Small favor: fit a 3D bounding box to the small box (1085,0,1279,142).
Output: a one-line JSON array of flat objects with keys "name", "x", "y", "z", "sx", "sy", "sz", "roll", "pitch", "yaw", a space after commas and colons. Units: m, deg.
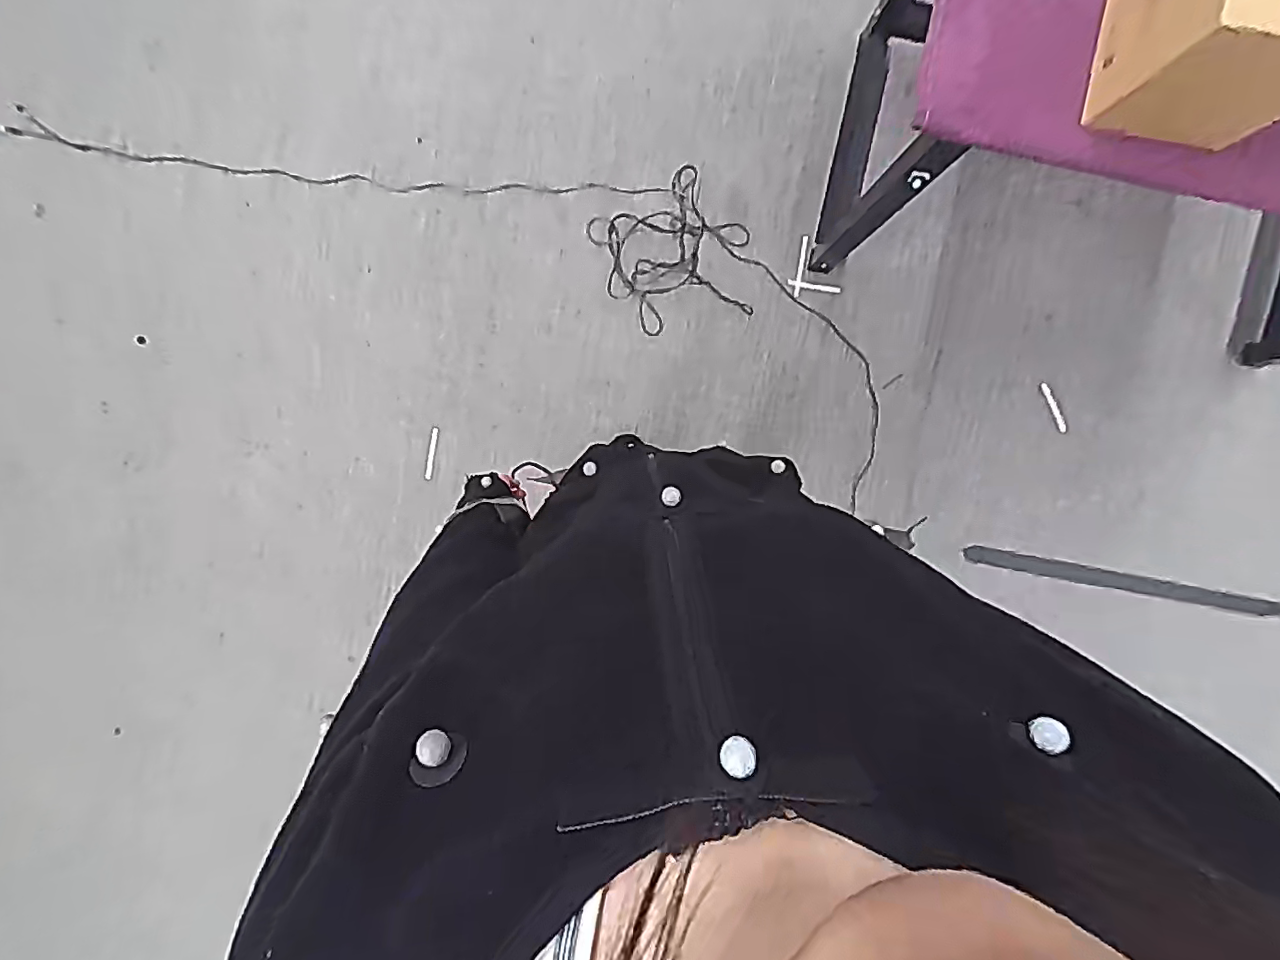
[{"name": "small box", "x": 0.628, "y": -0.491, "z": 0.570, "sx": 0.179, "sy": 0.176, "sz": 0.168, "roll": 9, "pitch": 95, "yaw": -1}]
